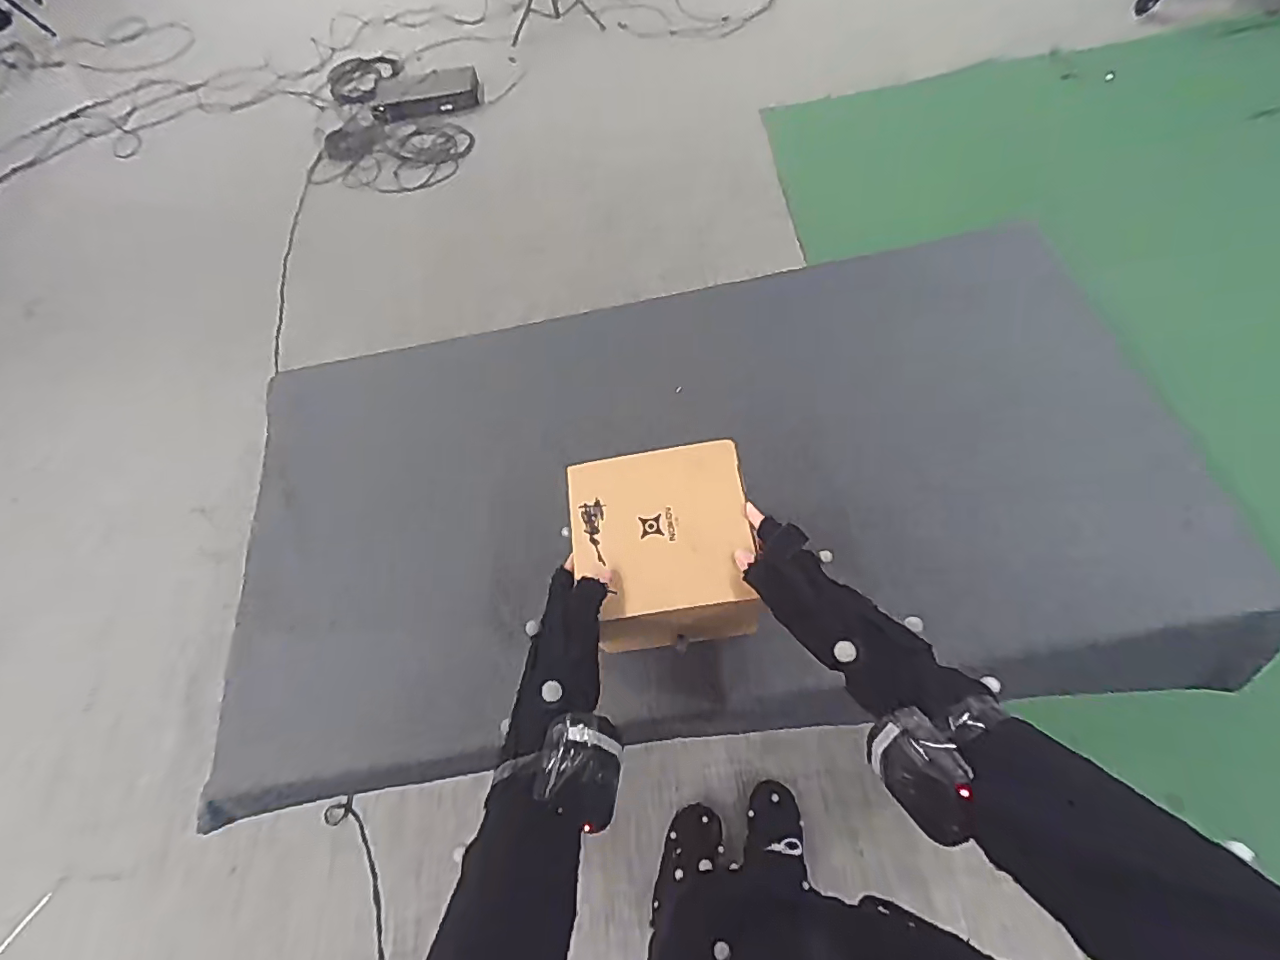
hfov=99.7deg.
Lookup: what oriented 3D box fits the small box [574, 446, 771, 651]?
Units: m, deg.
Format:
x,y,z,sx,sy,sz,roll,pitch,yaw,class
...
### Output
x,y,z,sx,sy,sz,roll,pitch,yaw,class
0.032,0.084,0.597,0.179,0.176,0.168,-9,62,3,small box
